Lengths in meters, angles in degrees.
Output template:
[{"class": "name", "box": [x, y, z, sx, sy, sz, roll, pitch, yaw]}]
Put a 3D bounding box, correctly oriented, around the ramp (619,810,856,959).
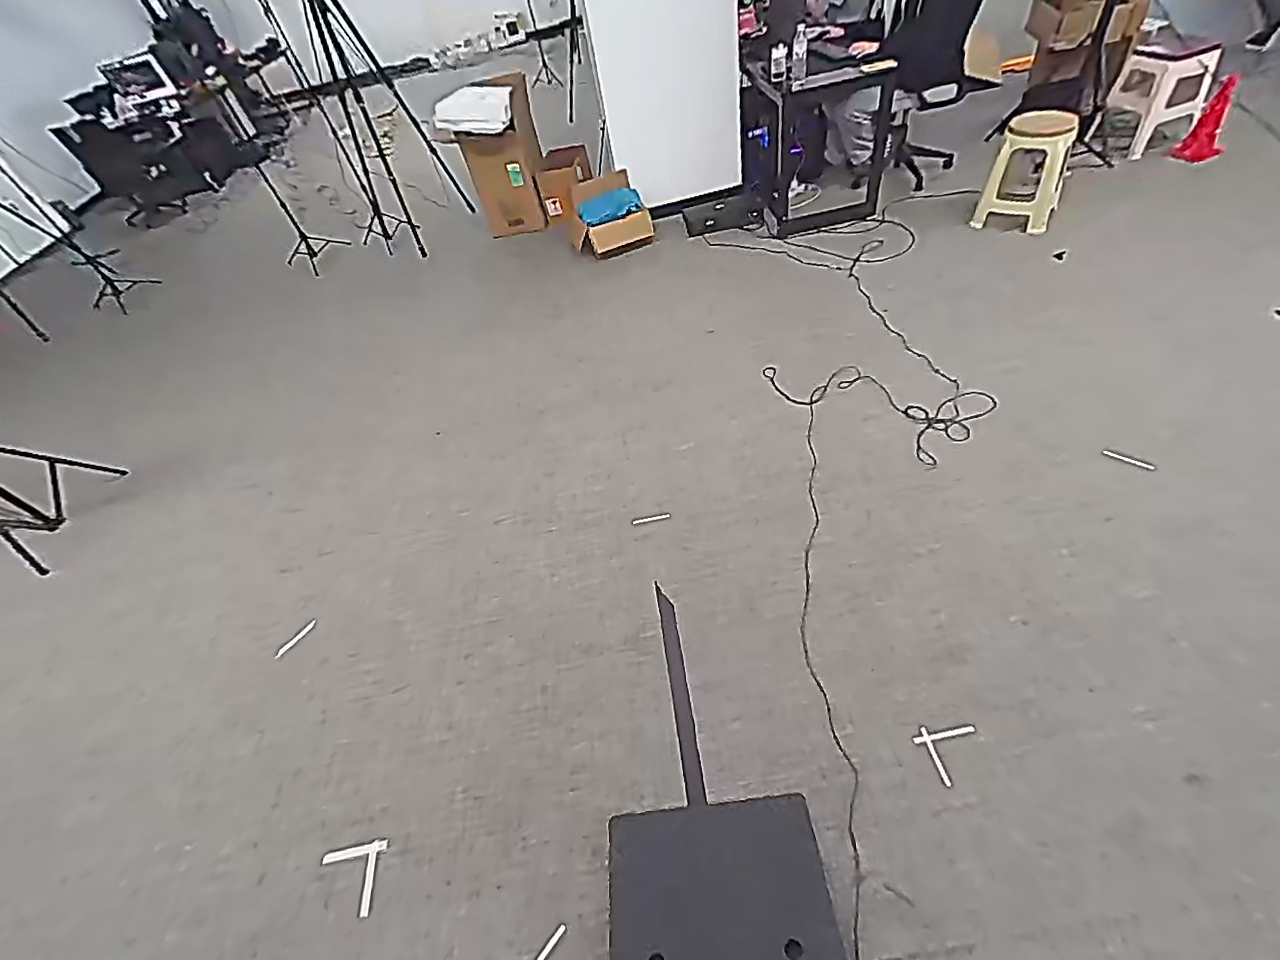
[{"class": "ramp", "box": [0.211, 1.143, 0.935, 0.509, 0.206, 0.991, -13, 45, 3]}]
